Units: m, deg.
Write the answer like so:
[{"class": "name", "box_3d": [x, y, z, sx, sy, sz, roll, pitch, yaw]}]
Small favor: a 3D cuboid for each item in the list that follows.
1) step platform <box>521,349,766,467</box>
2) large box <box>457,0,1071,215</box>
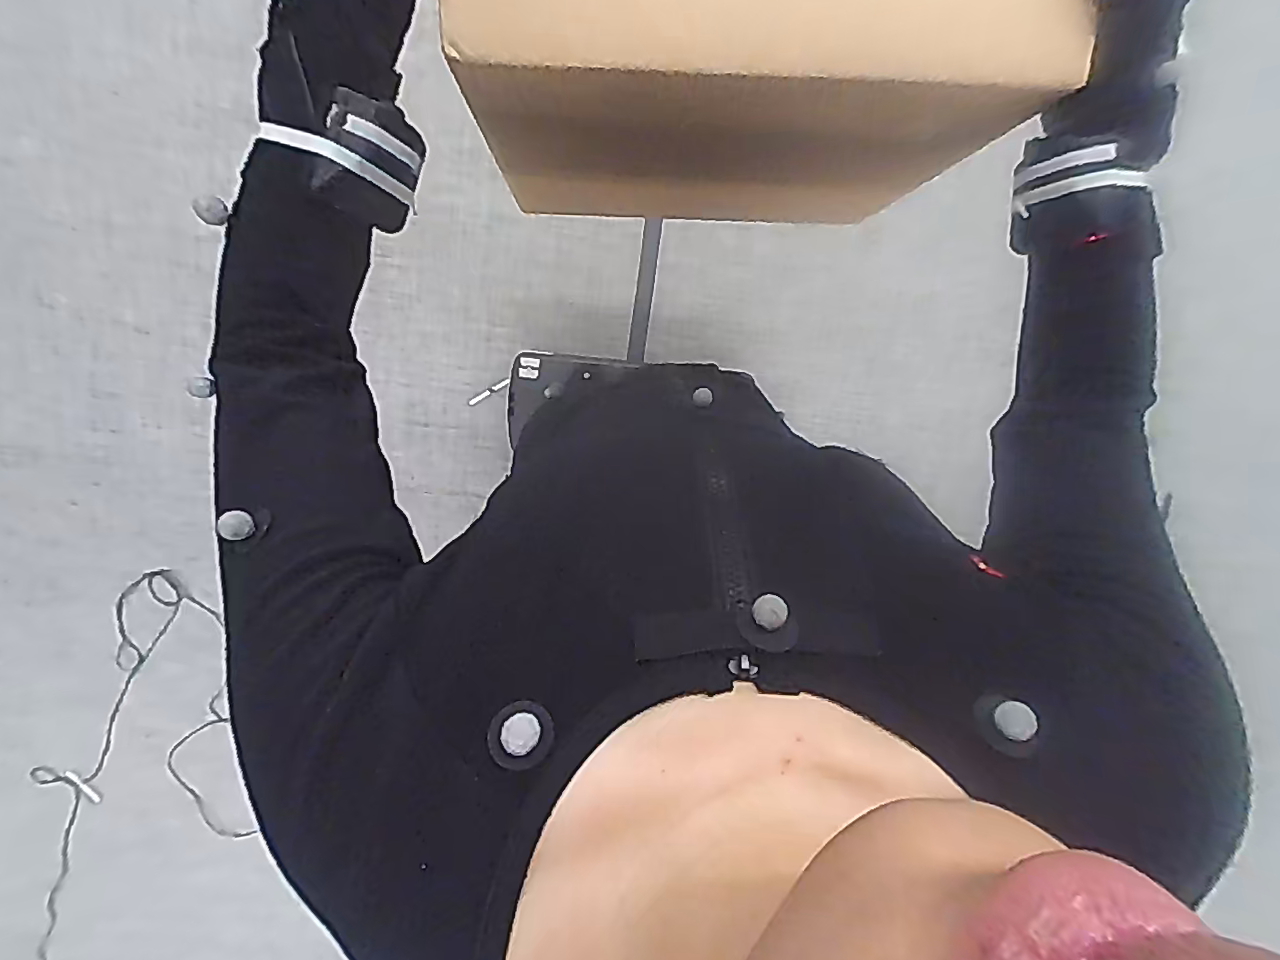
[{"class": "step platform", "box_3d": [0.008, -0.204, 1.547, 0.684, 0.204, 0.286, 4, 101, -5]}, {"class": "large box", "box_3d": [0.071, -0.438, 0.467, 0.408, 0.320, 0.320, -1, 101, -5]}]
